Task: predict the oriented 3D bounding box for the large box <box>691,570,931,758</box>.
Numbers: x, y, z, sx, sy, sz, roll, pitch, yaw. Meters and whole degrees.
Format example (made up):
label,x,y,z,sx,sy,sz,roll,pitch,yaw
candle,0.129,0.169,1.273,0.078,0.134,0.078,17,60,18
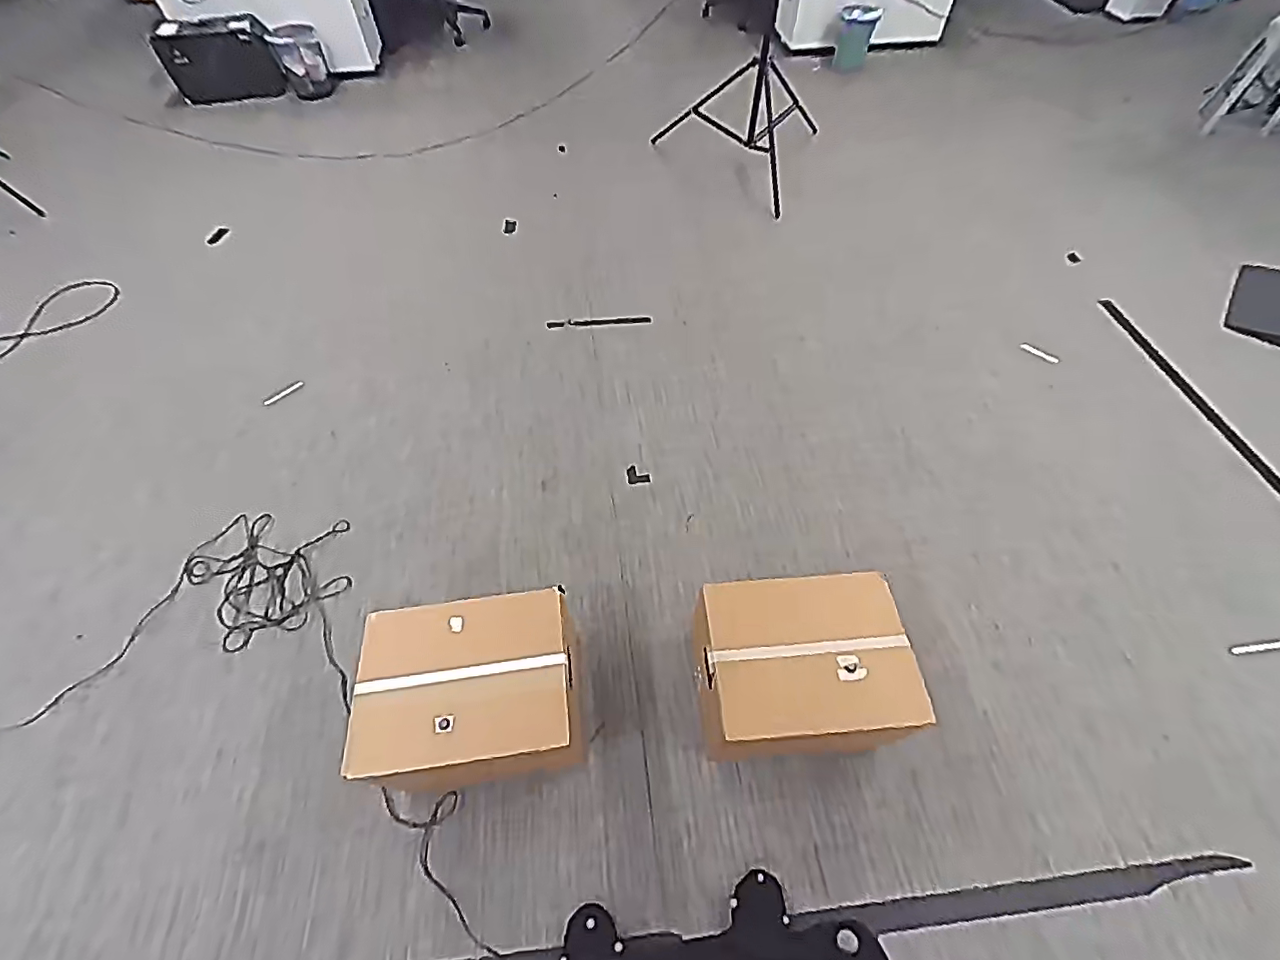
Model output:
label,x,y,z,sx,sy,sz,roll,pitch,yaw
large box,0.345,0.423,1.224,0.408,0.320,0.320,-3,57,-3
